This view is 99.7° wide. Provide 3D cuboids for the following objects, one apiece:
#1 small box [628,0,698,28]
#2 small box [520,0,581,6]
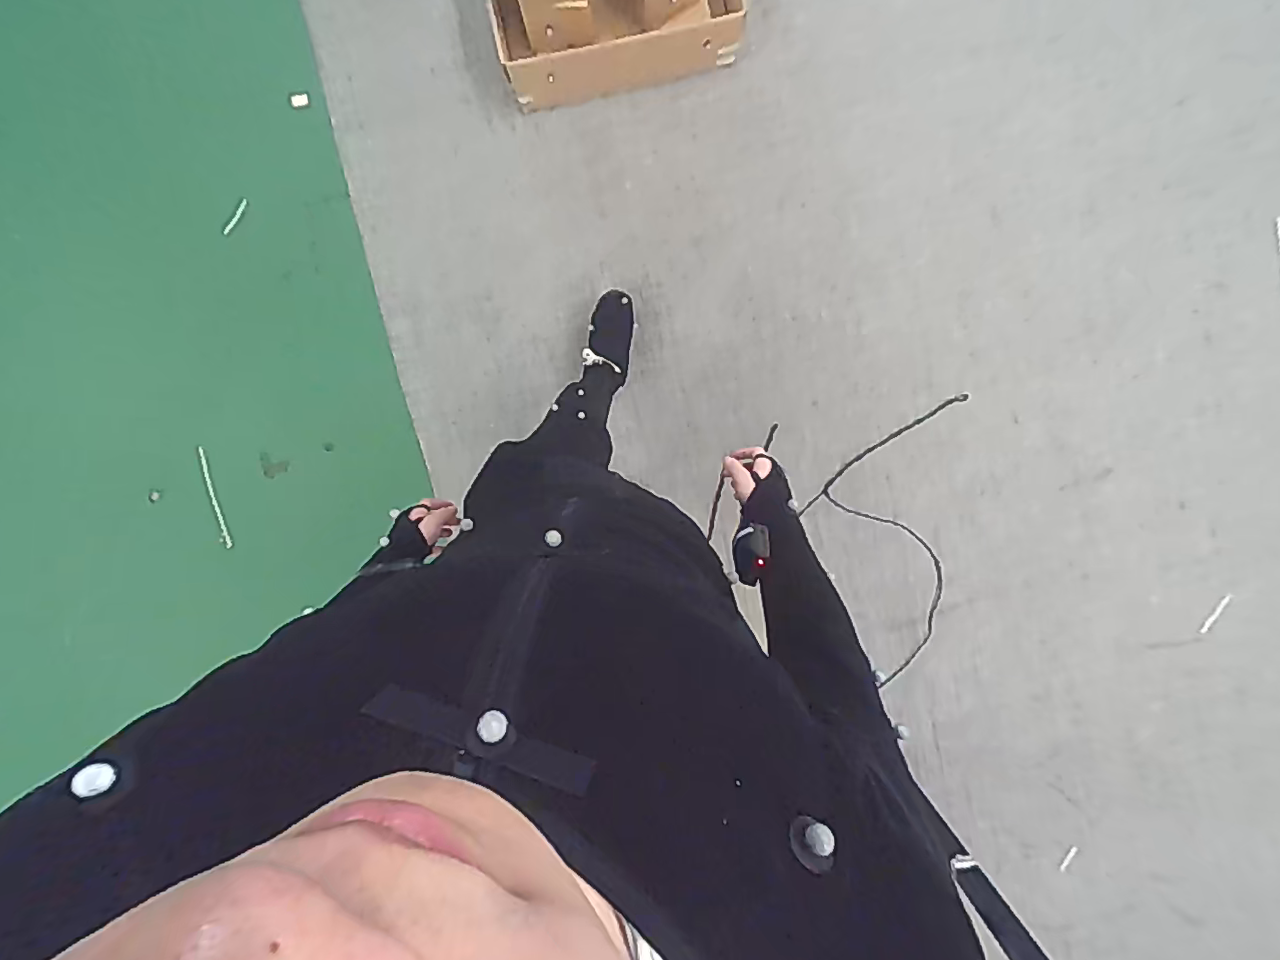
[{"bbox_3d":[0.045,-1.278,1.337,0.168,0.176,0.179,-27,95,4],"label":"small box"},{"bbox_3d":[-0.206,-1.191,1.185,0.179,0.176,0.168,-7,95,0],"label":"small box"}]
